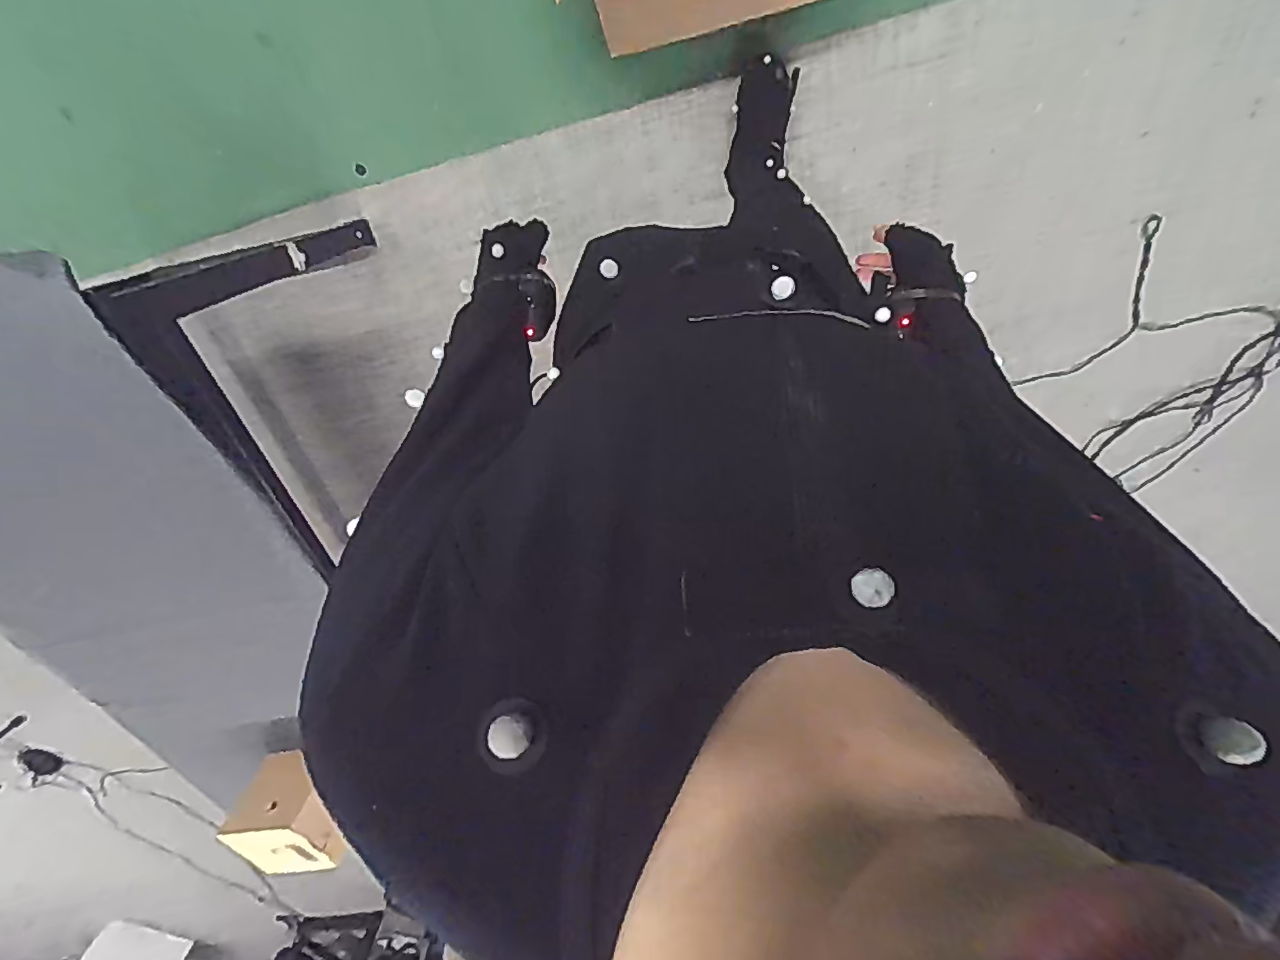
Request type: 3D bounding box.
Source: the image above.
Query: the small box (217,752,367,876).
[{"bbox_3d":[-0.706,0.691,1.128,0.179,0.176,0.168,-12,121,11],"label":"small box"}]
